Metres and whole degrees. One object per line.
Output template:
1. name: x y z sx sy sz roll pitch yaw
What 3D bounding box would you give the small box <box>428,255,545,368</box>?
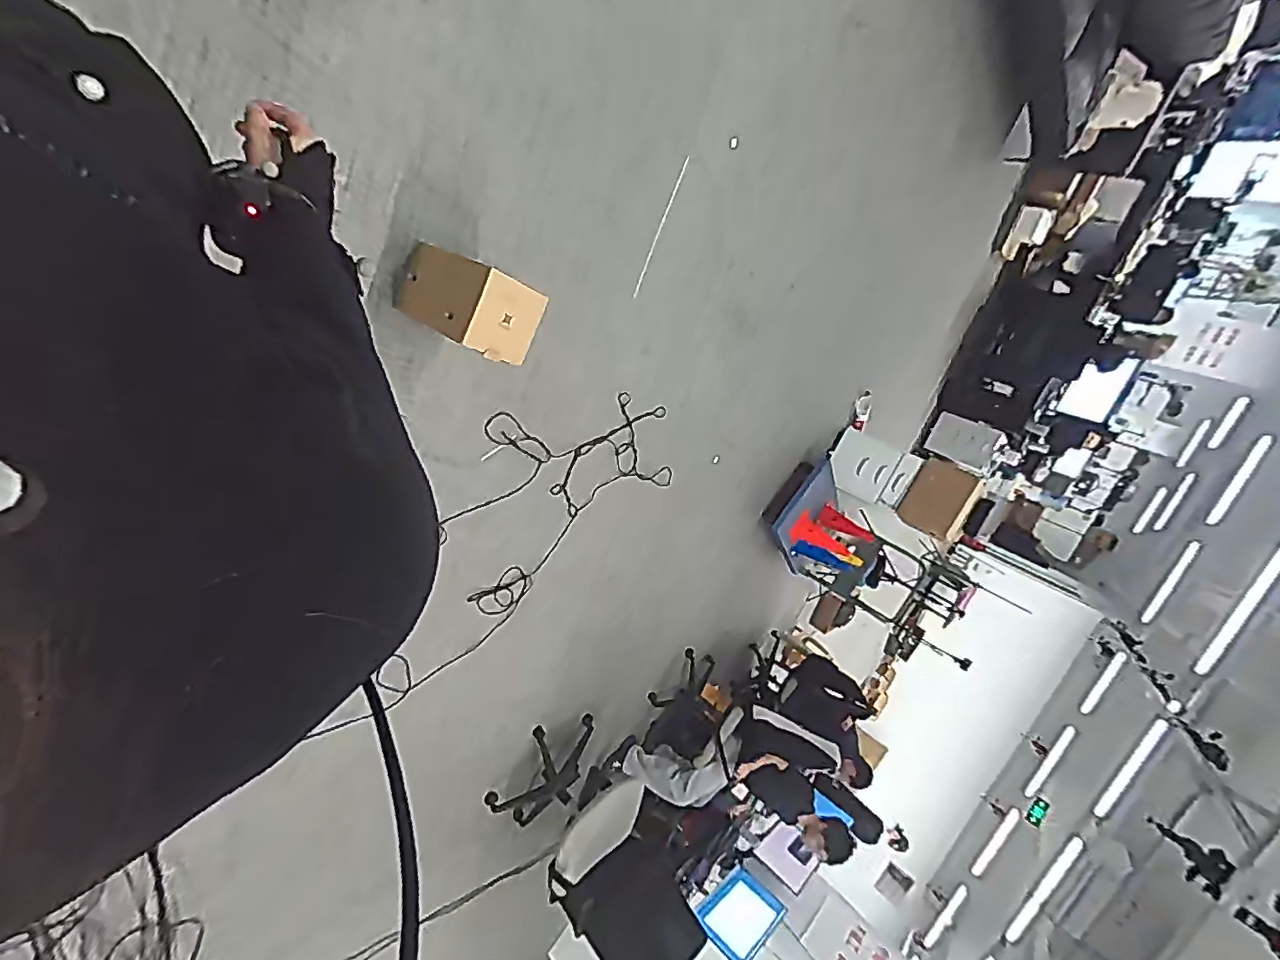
1. small box: -0.353 -0.382 1.227 0.168 0.176 0.179 12 105 -54

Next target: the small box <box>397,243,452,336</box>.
1. small box: -0.466 -0.449 1.325 0.168 0.176 0.179 15 105 -54
